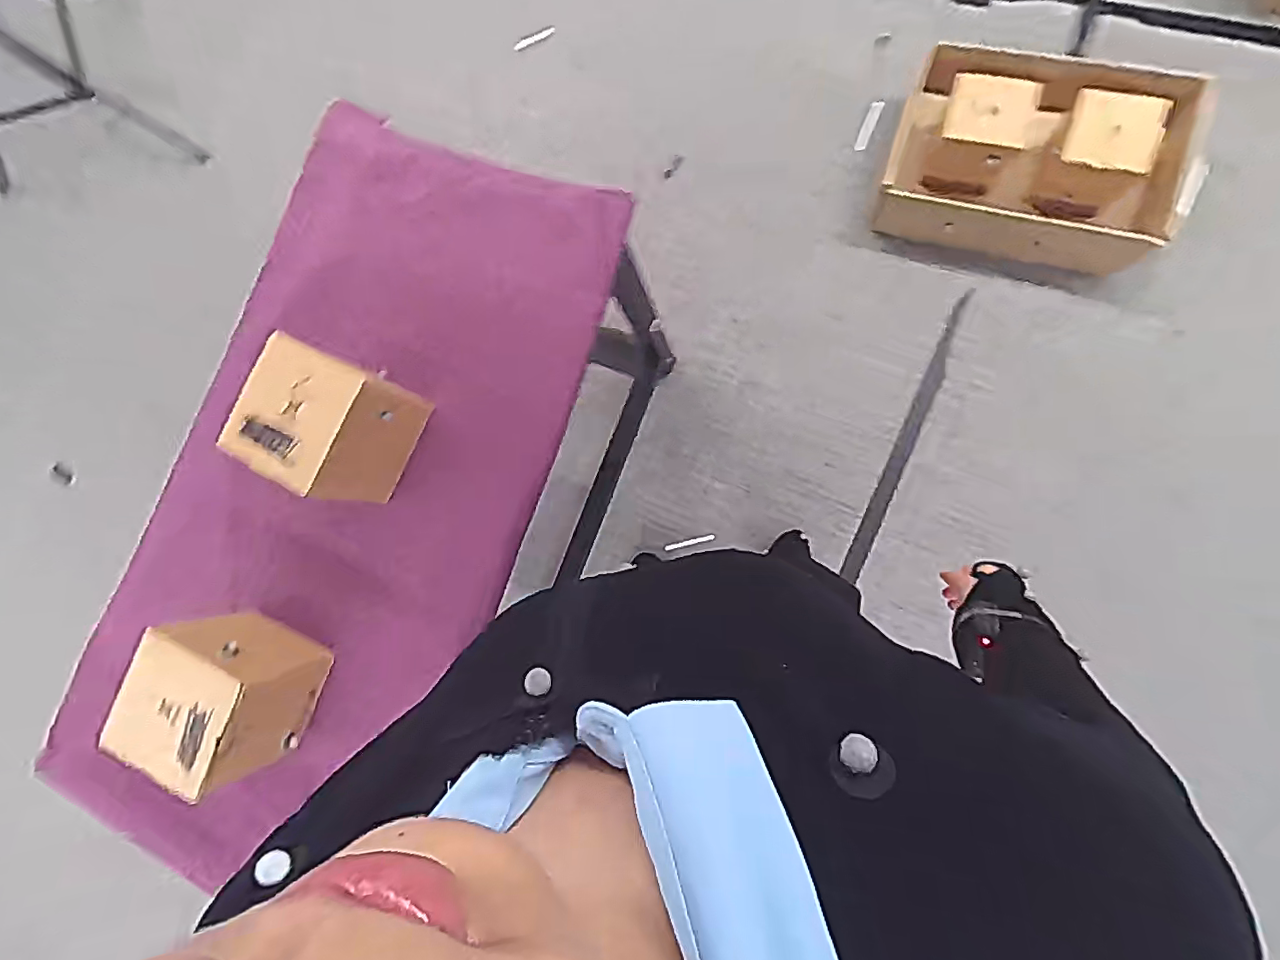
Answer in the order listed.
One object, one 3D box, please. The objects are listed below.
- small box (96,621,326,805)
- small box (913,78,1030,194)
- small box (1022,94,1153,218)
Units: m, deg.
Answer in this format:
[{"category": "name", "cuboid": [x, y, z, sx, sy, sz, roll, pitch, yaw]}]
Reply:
[{"category": "small box", "cuboid": [-0.607, 0.319, 0.787, 0.179, 0.176, 0.168, 22, 88, 11]}, {"category": "small box", "cuboid": [0.810, -0.841, 1.339, 0.179, 0.176, 0.168, 15, 86, 10]}, {"category": "small box", "cuboid": [1.055, -0.767, 1.291, 0.168, 0.176, 0.179, 17, 88, 12]}]
